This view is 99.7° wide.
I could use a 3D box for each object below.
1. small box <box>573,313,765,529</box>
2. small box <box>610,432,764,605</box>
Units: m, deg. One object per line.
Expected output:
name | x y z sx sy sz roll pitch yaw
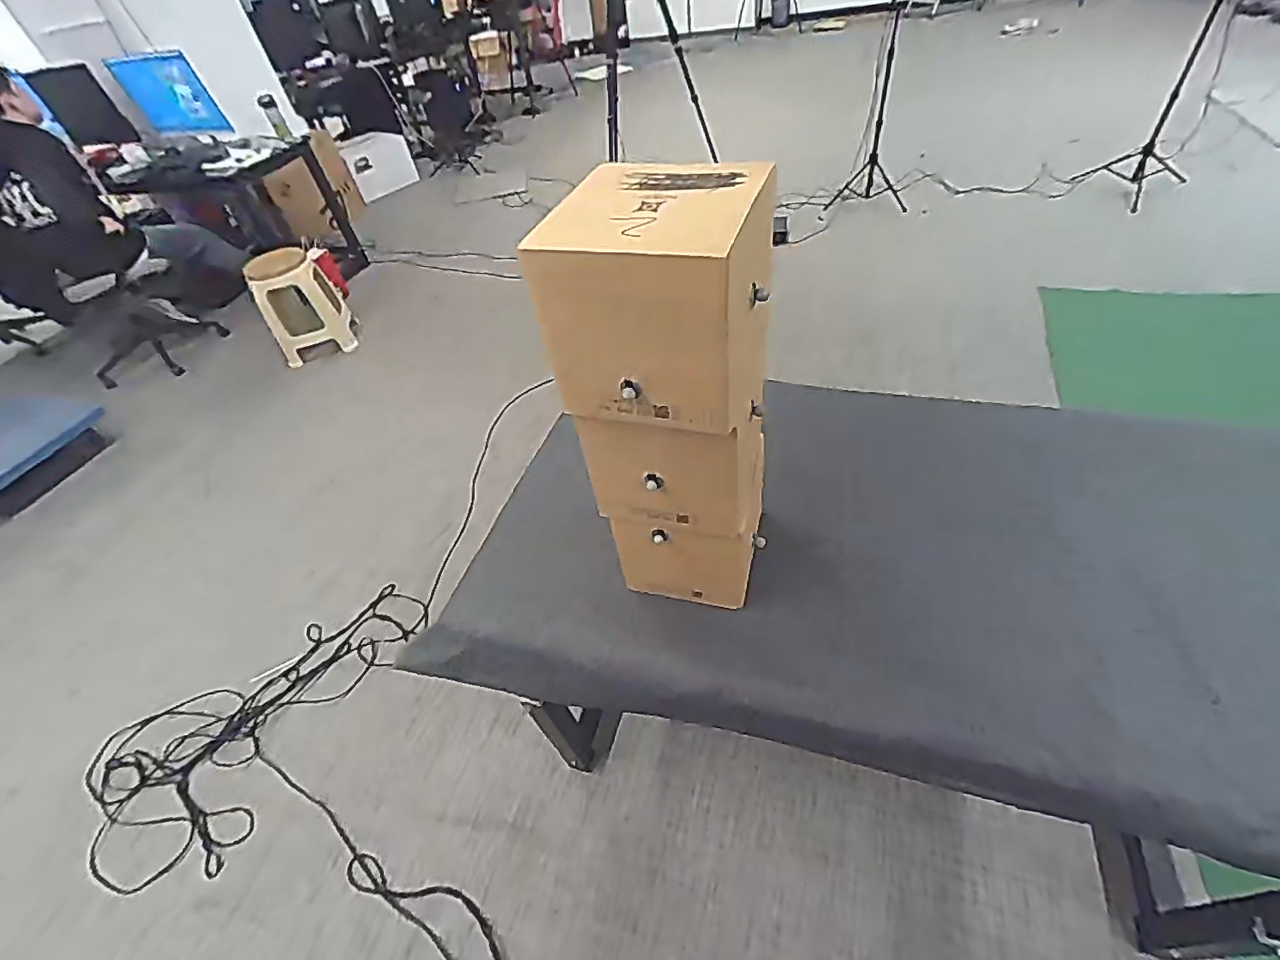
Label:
small box | 0.044 -0.067 0.618 0.168 0.176 0.179 9 49 16
small box | 0.070 0.042 0.740 0.168 0.176 0.179 8 48 16
